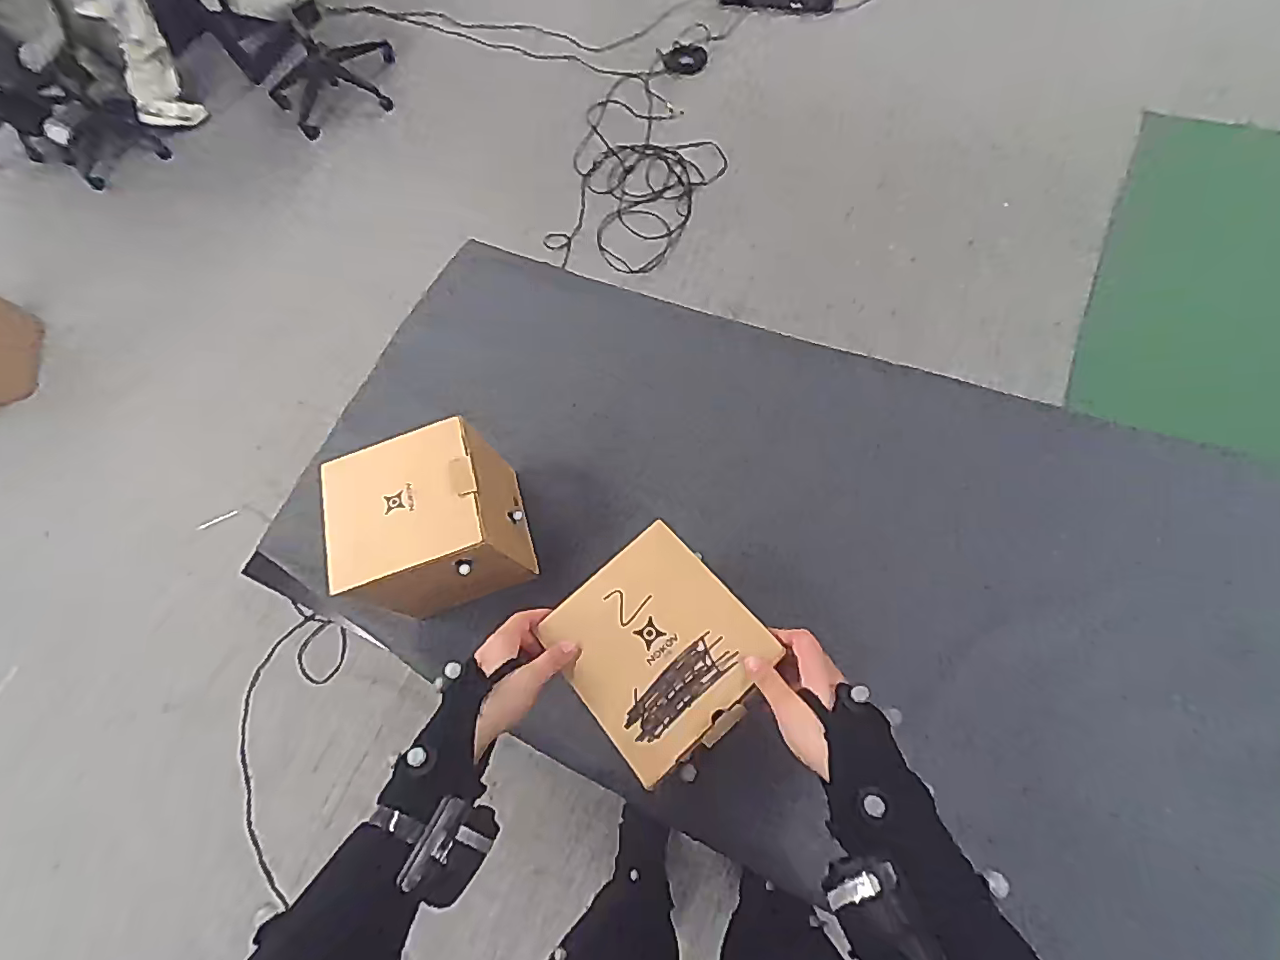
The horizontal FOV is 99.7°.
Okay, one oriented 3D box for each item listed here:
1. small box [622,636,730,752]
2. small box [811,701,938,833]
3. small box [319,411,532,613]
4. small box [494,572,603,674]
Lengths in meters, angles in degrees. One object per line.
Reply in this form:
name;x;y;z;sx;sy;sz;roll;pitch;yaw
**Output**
small box;0.089;0.479;1.218;0.179;0.176;0.168;40;78;24
small box;0.468;0.577;1.107;0.179;0.176;0.168;25;74;18
small box;-0.255;0.050;0.663;0.179;0.176;0.168;-20;65;1
small box;-0.217;0.357;1.325;0.179;0.176;0.168;32;76;22
